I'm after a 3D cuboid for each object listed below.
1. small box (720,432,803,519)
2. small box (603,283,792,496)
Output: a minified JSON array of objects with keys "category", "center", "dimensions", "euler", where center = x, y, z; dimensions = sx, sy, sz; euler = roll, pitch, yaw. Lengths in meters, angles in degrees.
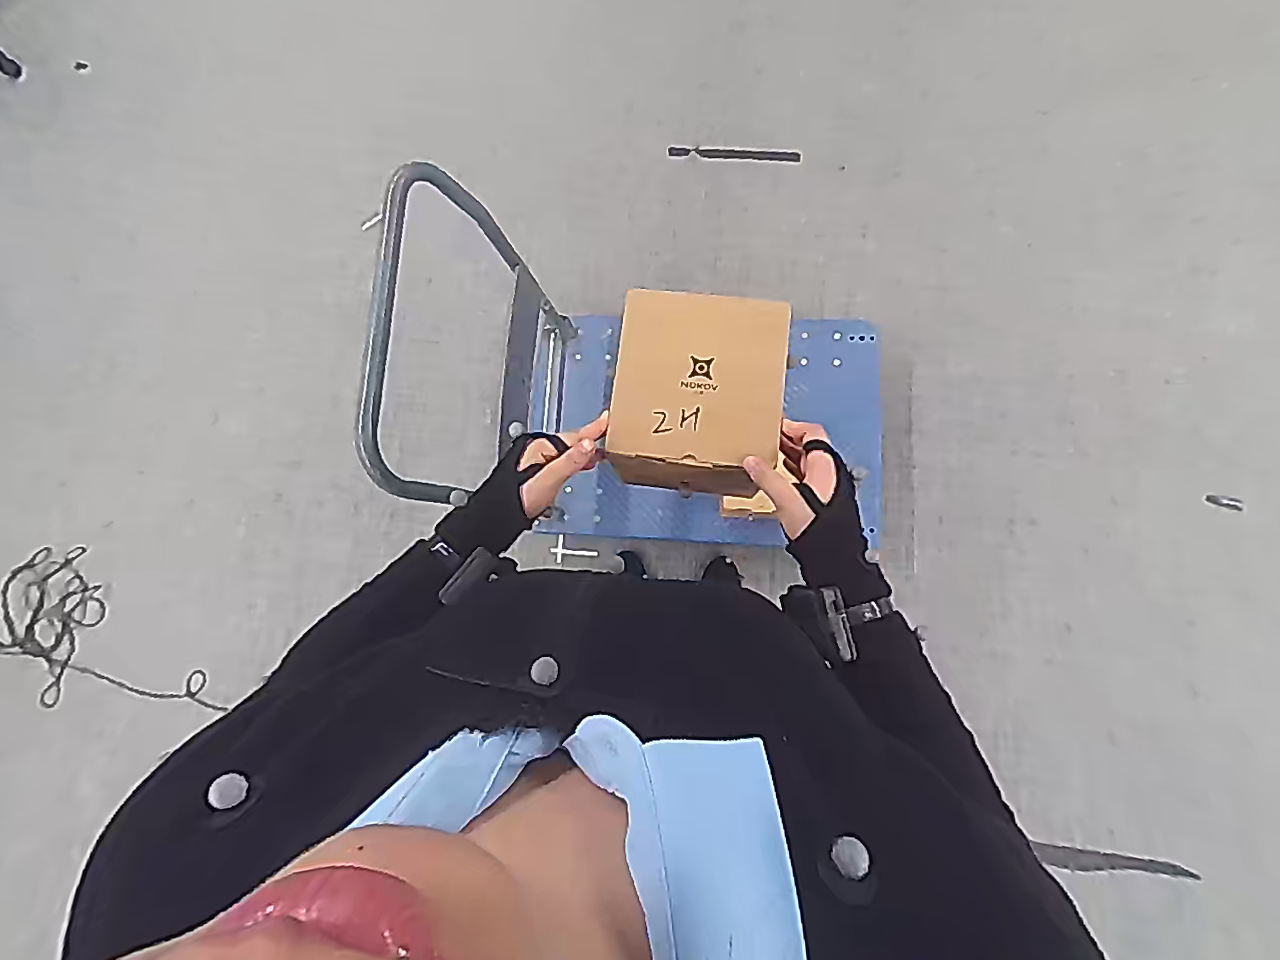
[{"category":"small box","center":[0.272,-0.008,1.244],"dimensions":[0.168,0.176,0.179],"euler":[3,83,6]},{"category":"small box","center":[0.062,-0.088,0.595],"dimensions":[0.168,0.176,0.179],"euler":[7,80,6]}]
